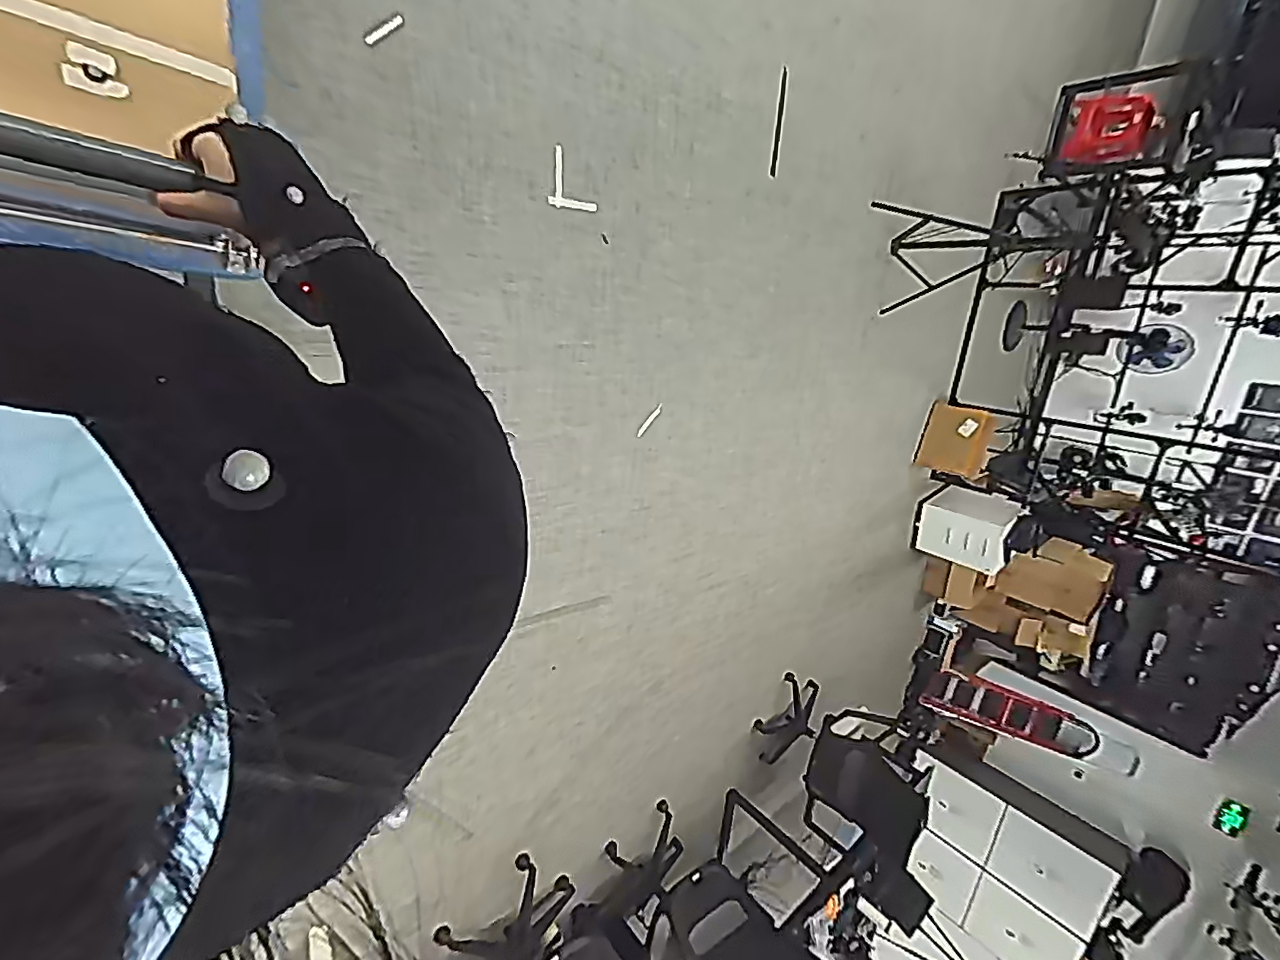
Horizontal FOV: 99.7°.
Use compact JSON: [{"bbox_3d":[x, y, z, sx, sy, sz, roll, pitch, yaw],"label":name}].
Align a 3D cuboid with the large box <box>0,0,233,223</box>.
[{"bbox_3d":[-0.804,-0.554,0.697,0.408,0.320,0.320,-5,108,-43],"label":"large box"}]
